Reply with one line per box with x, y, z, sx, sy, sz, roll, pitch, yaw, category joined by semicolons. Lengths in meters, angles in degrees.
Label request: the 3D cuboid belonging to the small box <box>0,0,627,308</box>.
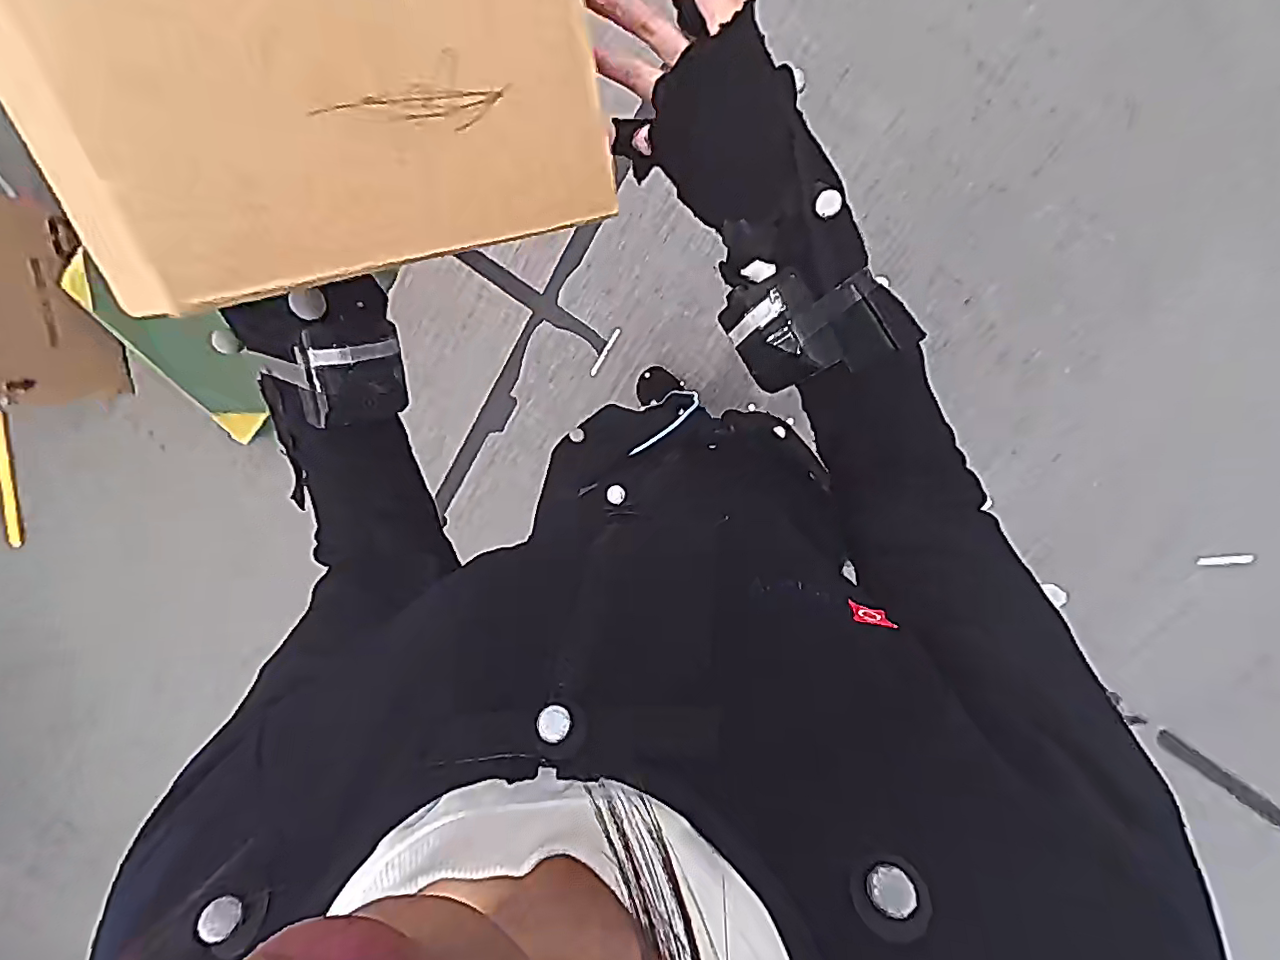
-0.133;-0.176;0.217;0.176;0.168;0.179;15;127;41;small box
